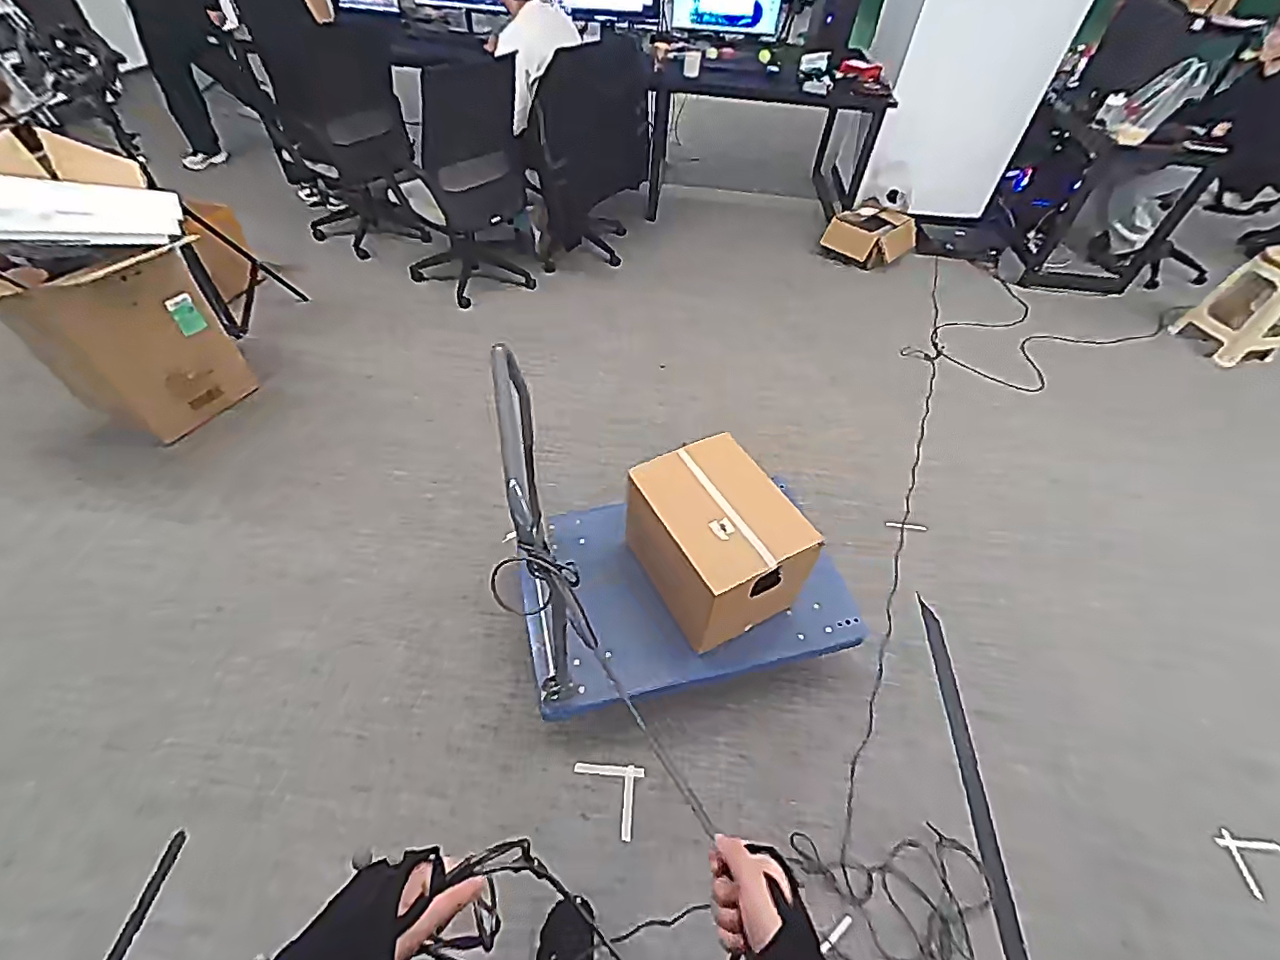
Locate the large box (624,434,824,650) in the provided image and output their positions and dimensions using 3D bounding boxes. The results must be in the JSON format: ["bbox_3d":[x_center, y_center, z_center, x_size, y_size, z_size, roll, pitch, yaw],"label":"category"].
[{"bbox_3d":[0.187,0.154,1.408,0.320,0.320,0.408,-22,55,-20],"label":"large box"}]
